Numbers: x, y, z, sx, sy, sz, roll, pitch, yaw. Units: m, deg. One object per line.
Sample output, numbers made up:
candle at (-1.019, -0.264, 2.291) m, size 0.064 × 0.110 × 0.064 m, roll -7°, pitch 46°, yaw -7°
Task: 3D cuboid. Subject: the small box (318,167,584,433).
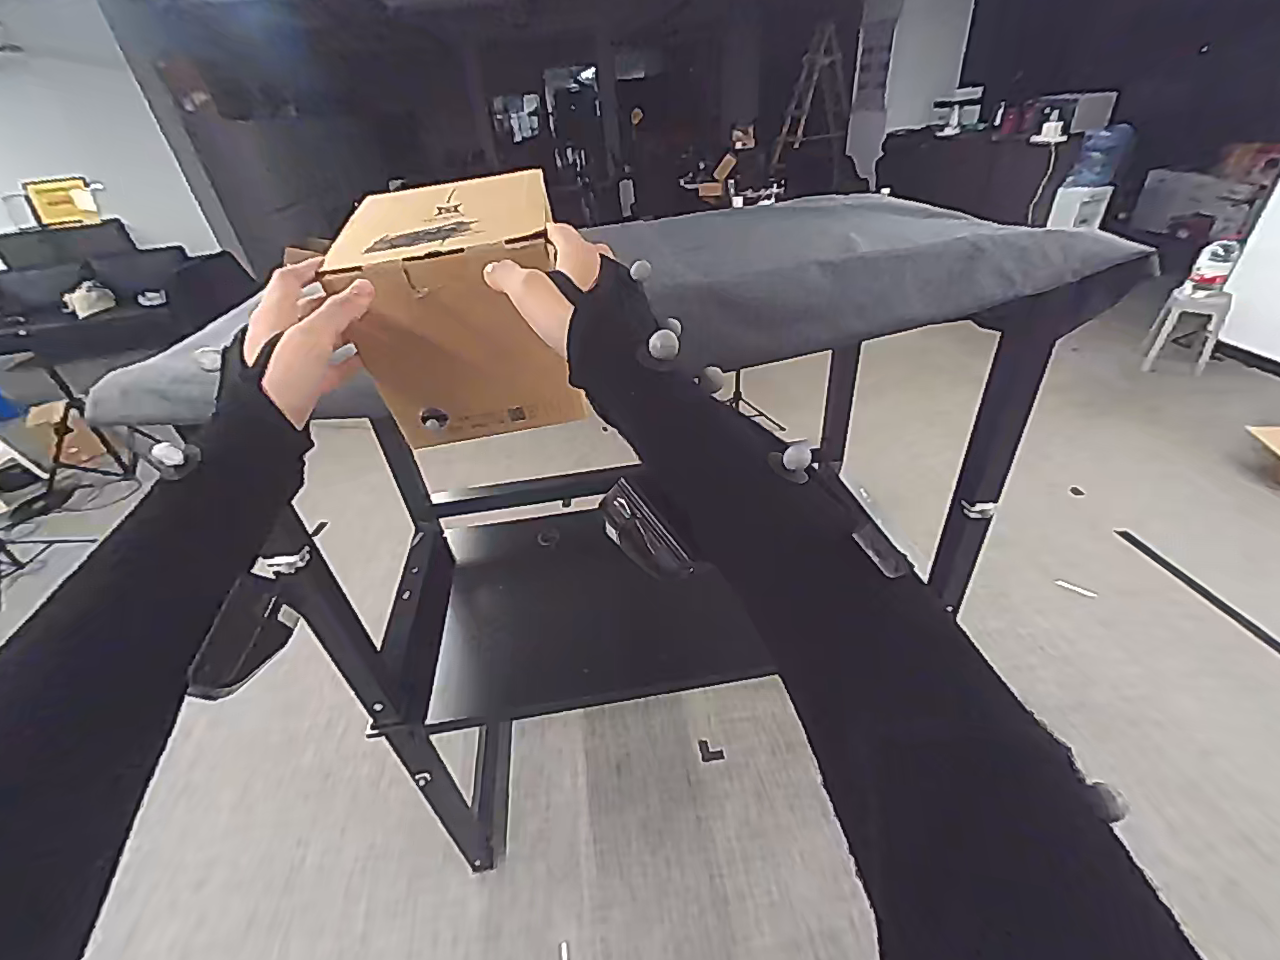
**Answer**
small box at (-0.148, -0.157, 0.493) m, size 0.168 × 0.176 × 0.179 m, roll -10°, pitch 44°, yaw -1°
